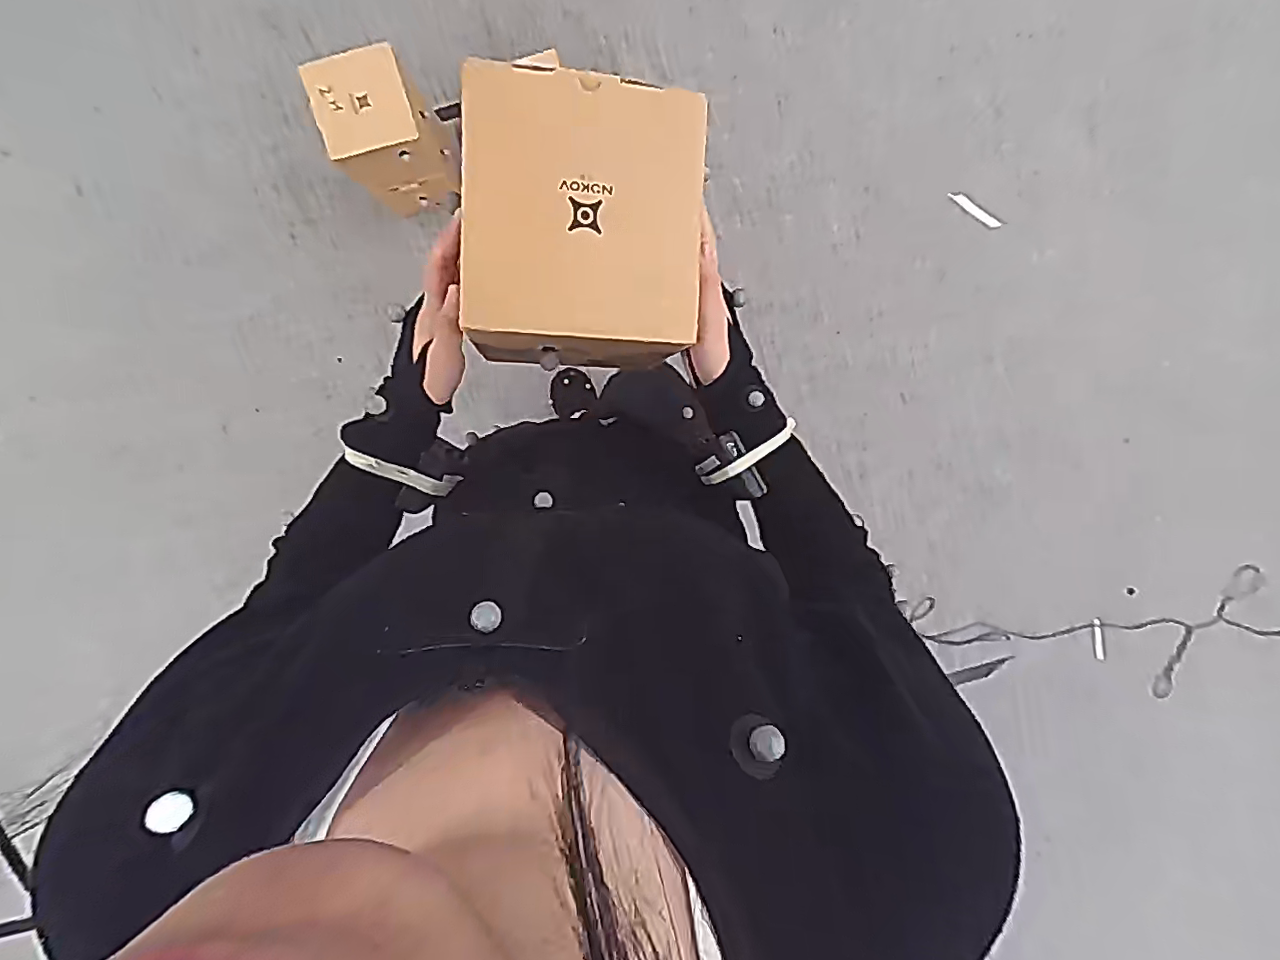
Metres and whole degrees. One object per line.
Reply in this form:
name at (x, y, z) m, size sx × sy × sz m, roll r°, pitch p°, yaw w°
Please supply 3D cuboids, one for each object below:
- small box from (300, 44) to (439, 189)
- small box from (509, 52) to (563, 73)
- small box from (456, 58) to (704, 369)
small box at (-0.515, -0.703, 1.066) m, size 0.179 × 0.176 × 0.168 m, roll -15°, pitch 101°, yaw 0°
small box at (-0.240, -0.816, 1.227) m, size 0.179 × 0.176 × 0.168 m, roll -16°, pitch 102°, yaw 1°
small box at (-0.052, -0.191, 0.449) m, size 0.168 × 0.176 × 0.179 m, roll 2°, pitch 93°, yaw -10°
